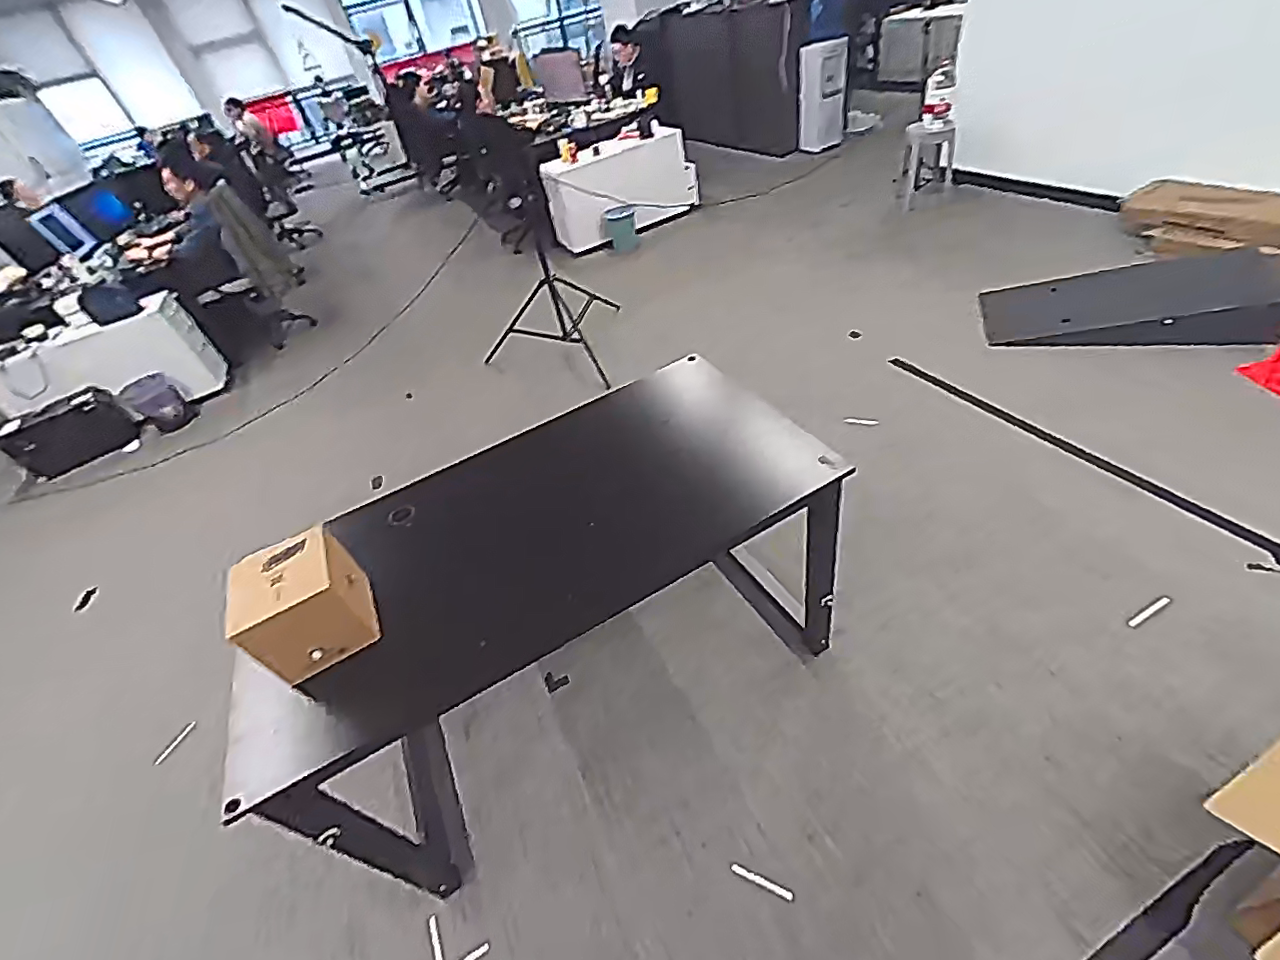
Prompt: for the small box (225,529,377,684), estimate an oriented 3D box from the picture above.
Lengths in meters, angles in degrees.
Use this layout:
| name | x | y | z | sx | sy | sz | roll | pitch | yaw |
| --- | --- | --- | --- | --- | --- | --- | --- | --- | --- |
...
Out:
| name | x | y | z | sx | sy | sz | roll | pitch | yaw |
| --- | --- | --- | --- | --- | --- | --- | --- | --- | --- |
| small box | -0.605 | 0.229 | 0.977 | 0.168 | 0.176 | 0.179 | -28 | 45 | -14 |
